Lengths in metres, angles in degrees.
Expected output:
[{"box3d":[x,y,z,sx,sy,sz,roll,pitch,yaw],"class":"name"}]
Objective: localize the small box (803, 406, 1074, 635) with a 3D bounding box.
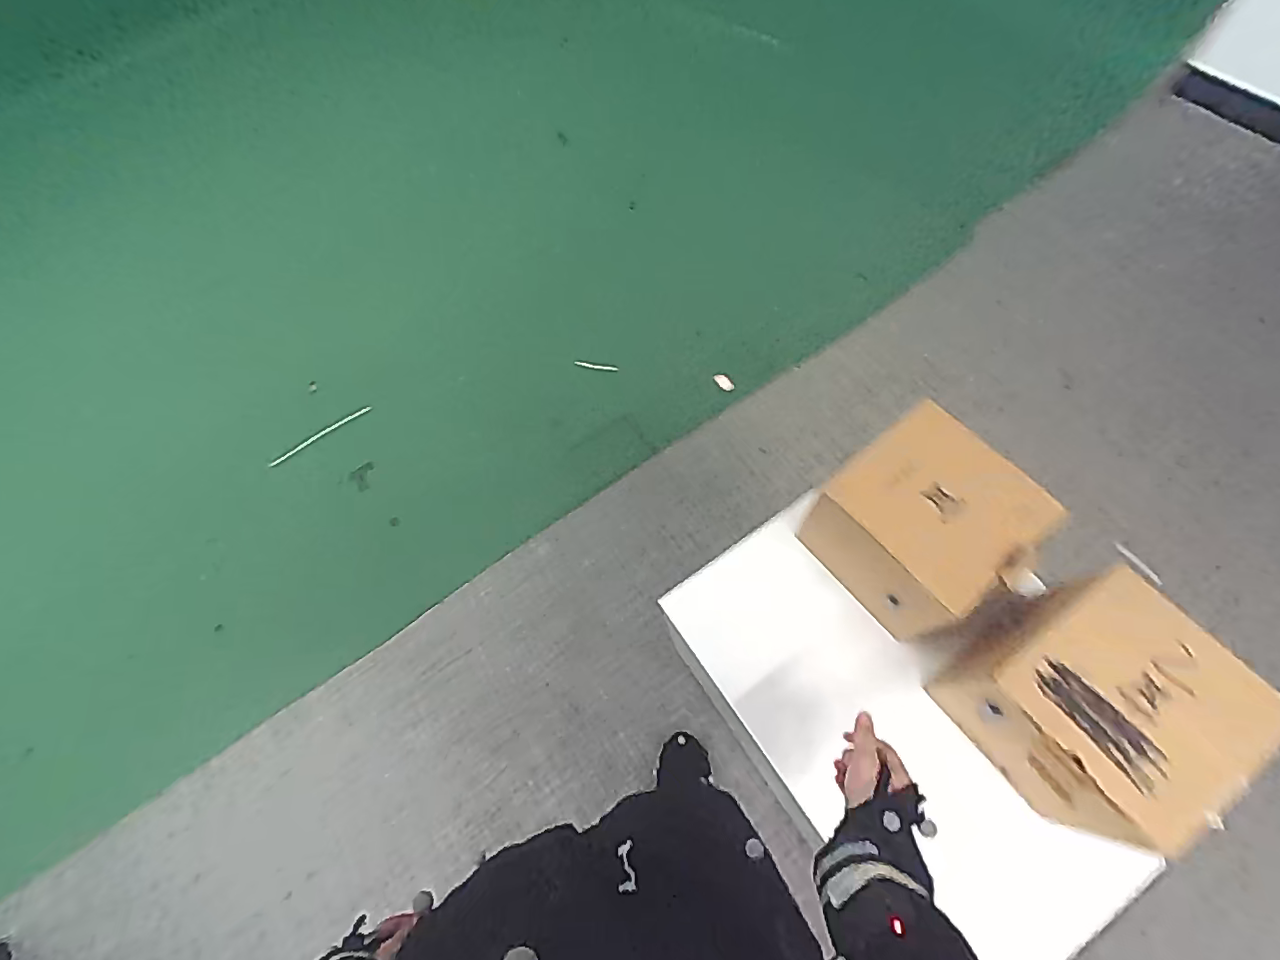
[{"box3d":[0.314,0.057,0.613,0.168,0.176,0.179,-37,68,-11],"class":"small box"}]
